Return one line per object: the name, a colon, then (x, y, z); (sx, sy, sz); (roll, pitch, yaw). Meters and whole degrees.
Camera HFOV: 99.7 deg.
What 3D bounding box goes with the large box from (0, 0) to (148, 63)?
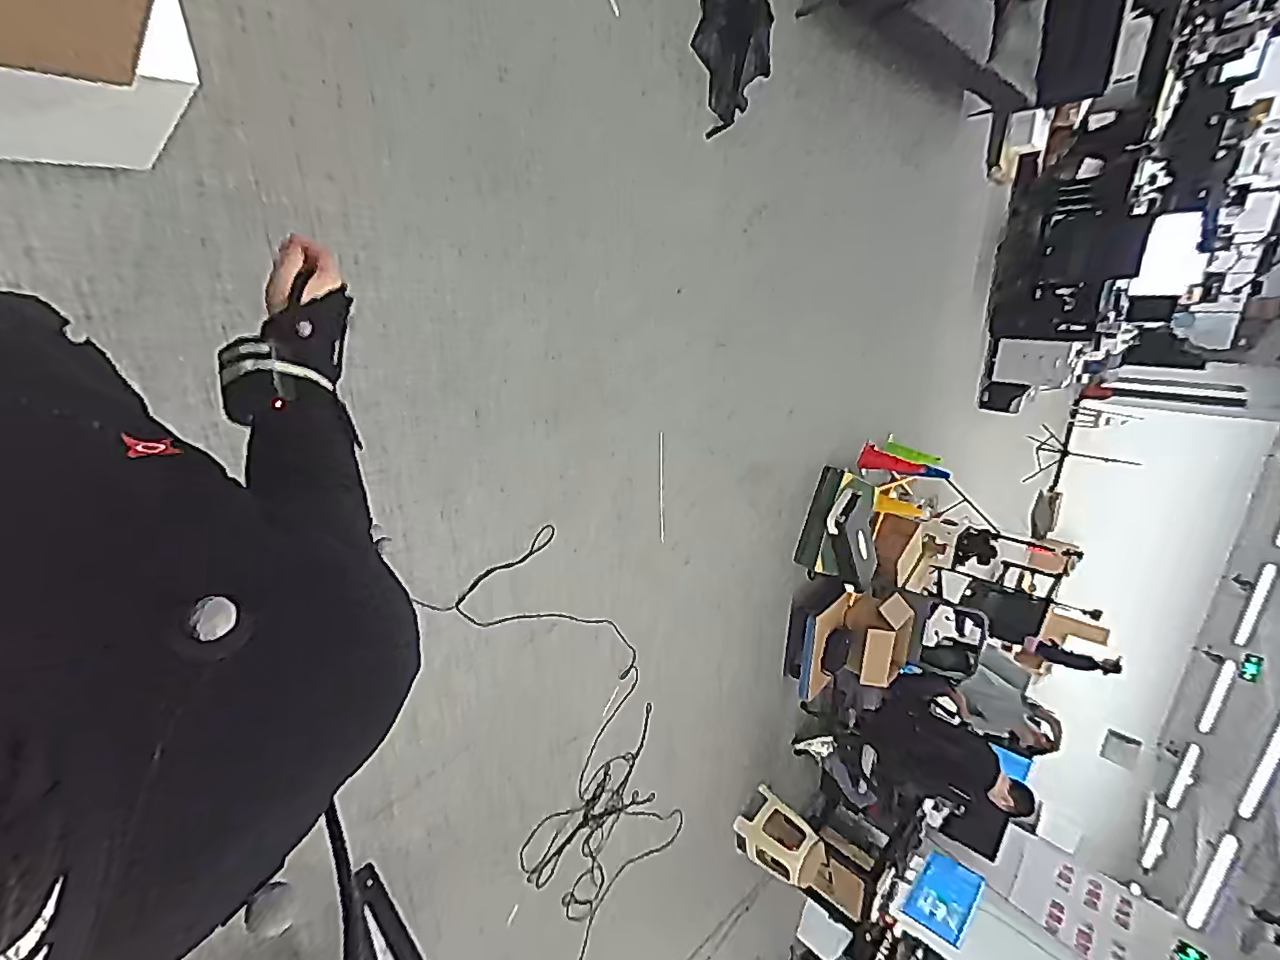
large box: (-0.544, -0.461, 0.254); (0.408, 0.320, 0.320); (-22, 119, -42)
